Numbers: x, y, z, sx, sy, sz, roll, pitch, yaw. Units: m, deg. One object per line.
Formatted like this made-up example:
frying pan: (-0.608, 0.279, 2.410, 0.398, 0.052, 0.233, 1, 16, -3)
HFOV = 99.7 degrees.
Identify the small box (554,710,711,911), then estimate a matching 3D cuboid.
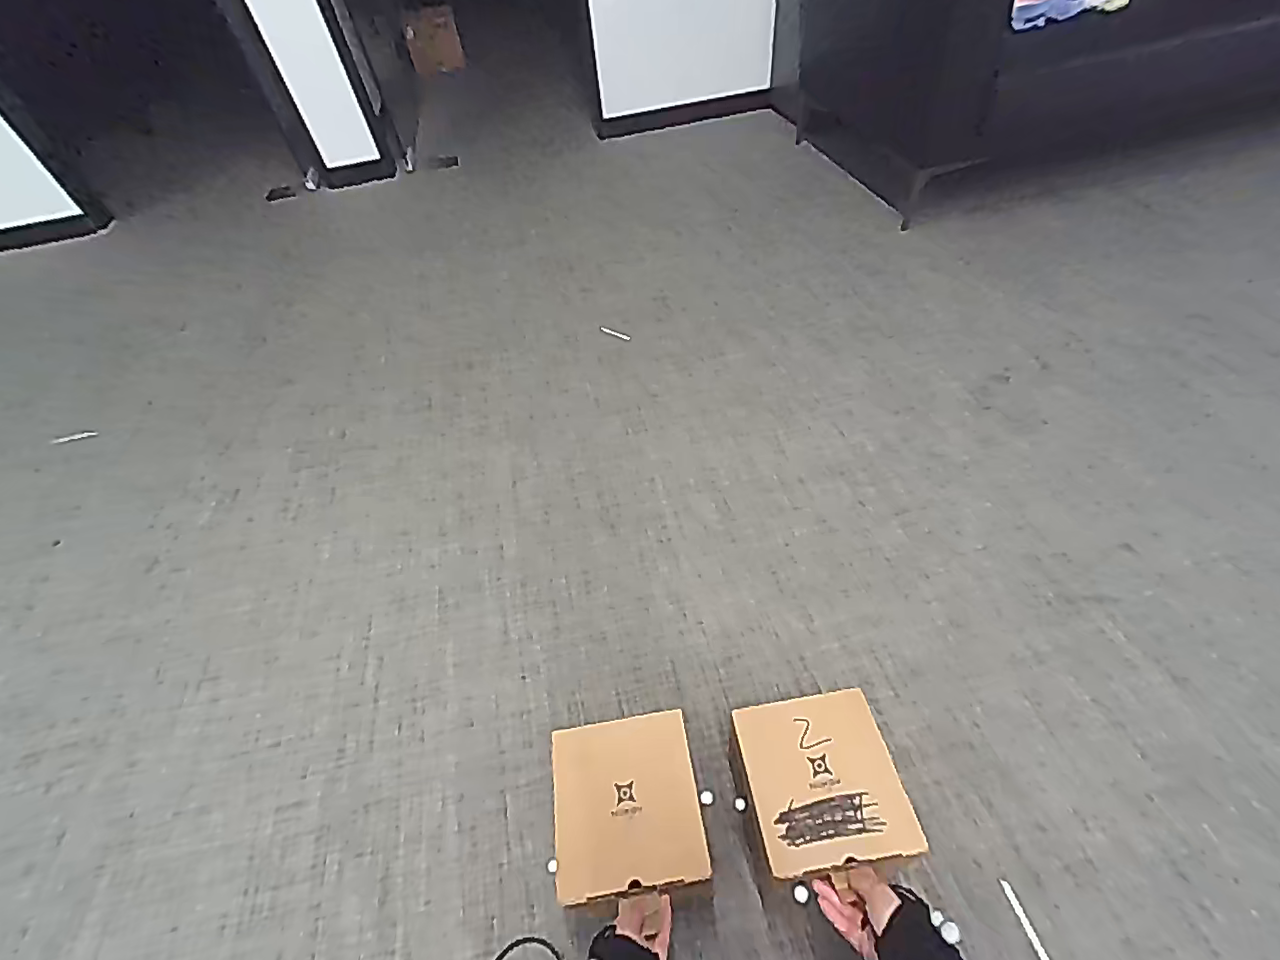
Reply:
small box: (-0.010, 0.418, 0.681, 0.168, 0.176, 0.179, -10, 49, -1)
